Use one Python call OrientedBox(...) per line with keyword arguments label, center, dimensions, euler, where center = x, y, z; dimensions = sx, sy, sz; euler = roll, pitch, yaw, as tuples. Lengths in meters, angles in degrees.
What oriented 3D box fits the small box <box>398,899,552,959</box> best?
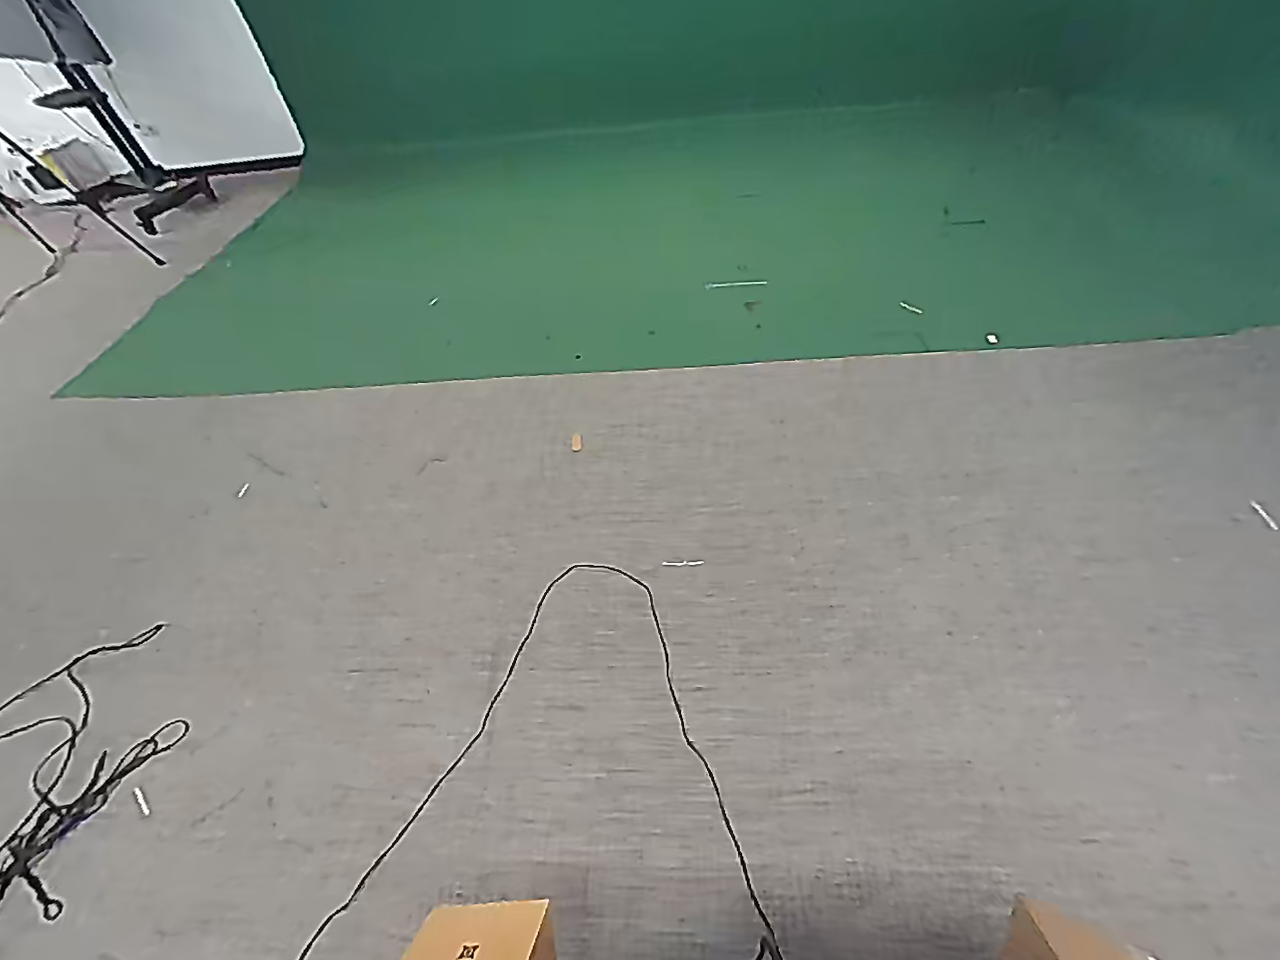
OrientedBox(label="small box", center=(-0.204, 0.655, 0.650), dimensions=(0.168, 0.179, 0.176), euler=(-7, 86, 4))
